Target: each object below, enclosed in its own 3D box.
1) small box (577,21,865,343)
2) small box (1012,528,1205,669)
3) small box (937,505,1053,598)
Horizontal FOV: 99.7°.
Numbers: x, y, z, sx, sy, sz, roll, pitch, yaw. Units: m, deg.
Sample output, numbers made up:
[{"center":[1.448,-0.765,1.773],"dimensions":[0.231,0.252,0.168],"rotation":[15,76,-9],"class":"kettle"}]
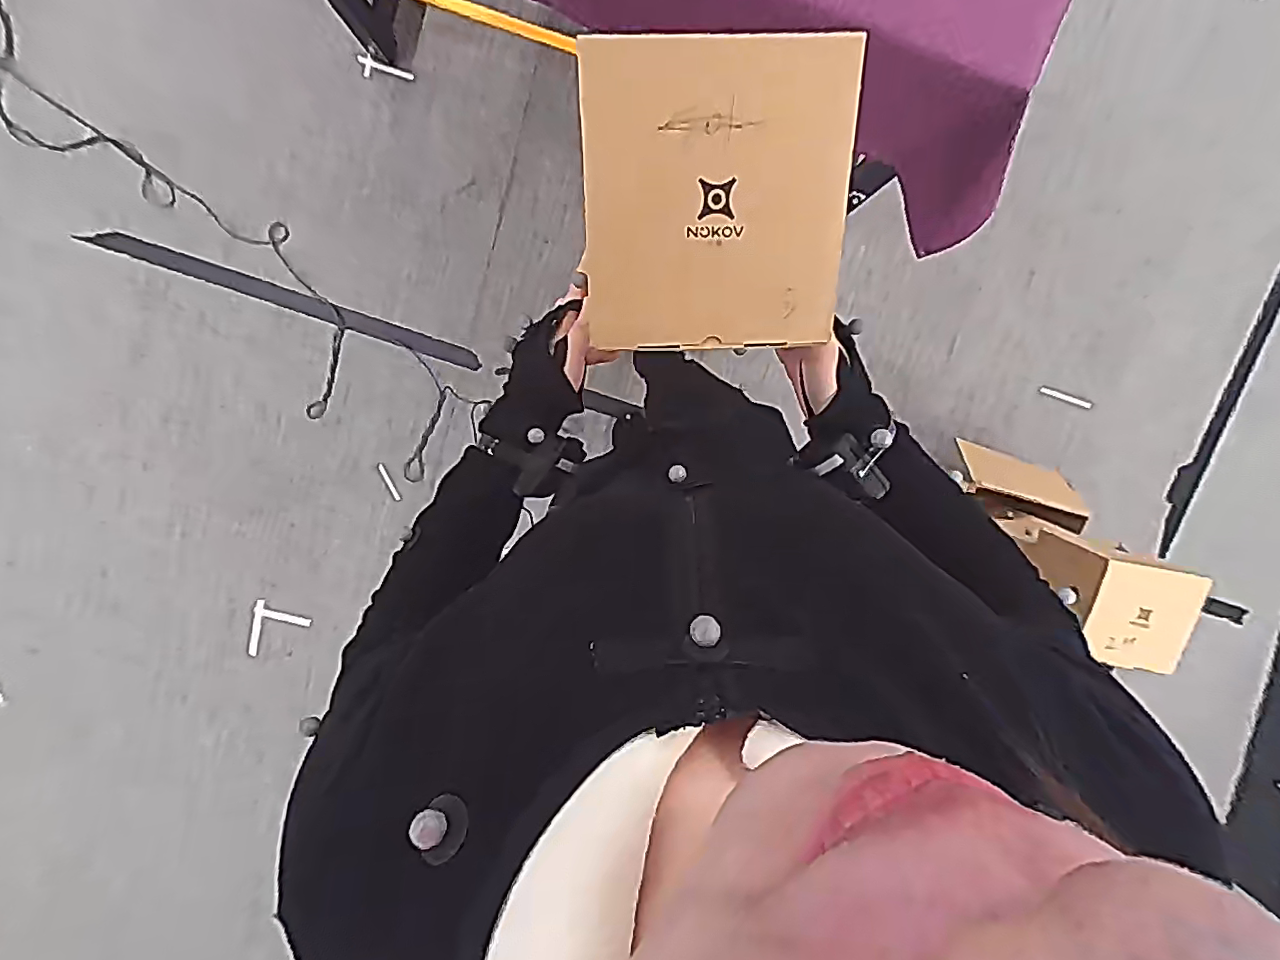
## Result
[{"center":[0.043,-0.205,0.408],"dimensions":[0.168,0.176,0.179],"rotation":[-2,112,-2],"class":"small box"},{"center":[0.804,0.197,0.952],"dimensions":[0.168,0.176,0.179],"rotation":[11,103,1],"class":"small box"},{"center":[0.828,0.161,1.279],"dimensions":[0.168,0.176,0.179],"rotation":[-3,103,2],"class":"small box"}]
